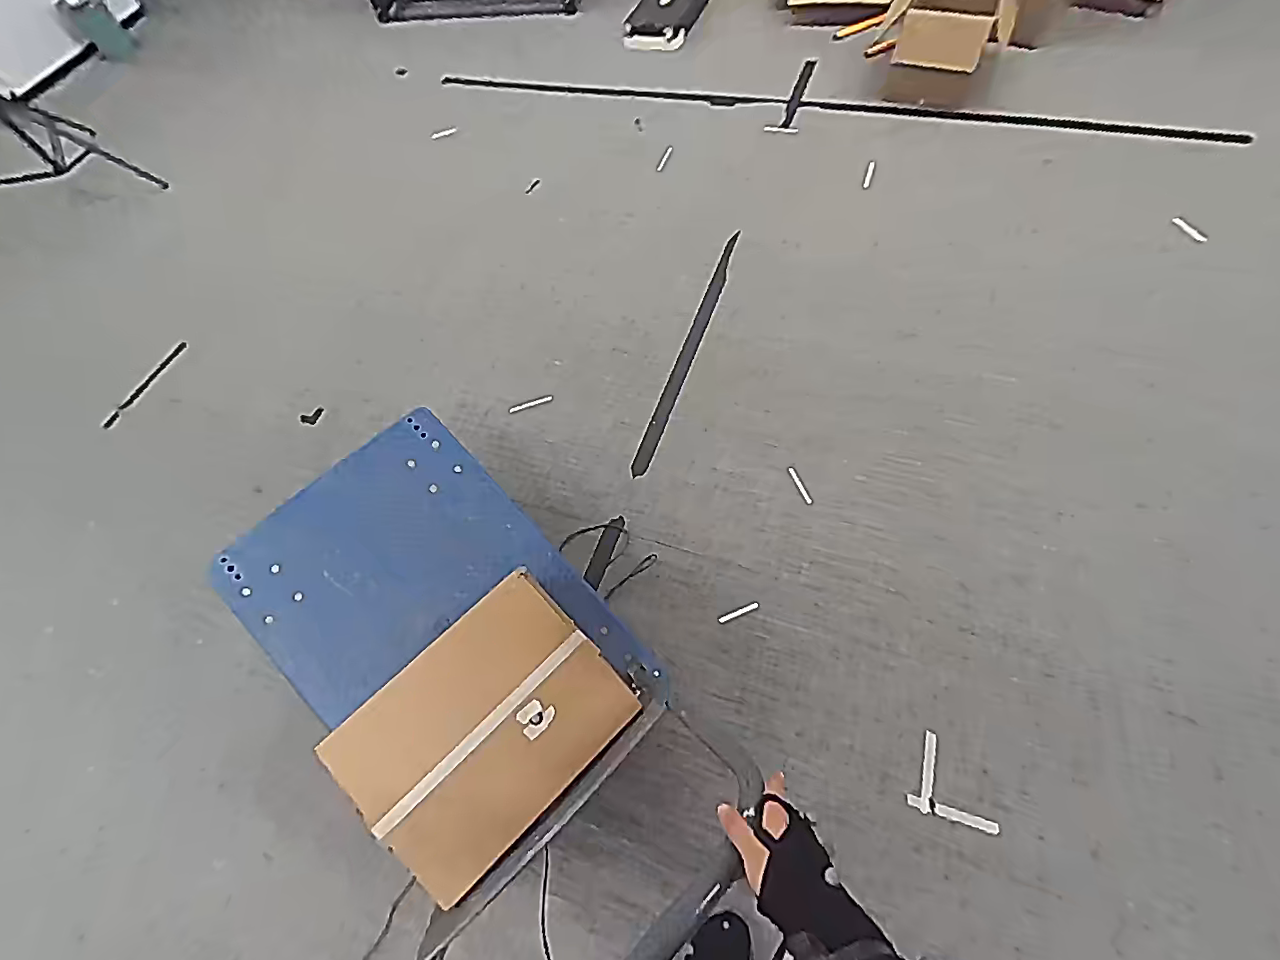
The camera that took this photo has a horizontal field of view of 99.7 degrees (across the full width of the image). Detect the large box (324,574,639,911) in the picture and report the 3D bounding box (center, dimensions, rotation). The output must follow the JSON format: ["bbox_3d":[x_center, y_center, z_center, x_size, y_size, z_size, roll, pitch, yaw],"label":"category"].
[{"bbox_3d":[-0.261,0.438,1.001,0.408,0.320,0.320,-43,84,-16],"label":"large box"}]
